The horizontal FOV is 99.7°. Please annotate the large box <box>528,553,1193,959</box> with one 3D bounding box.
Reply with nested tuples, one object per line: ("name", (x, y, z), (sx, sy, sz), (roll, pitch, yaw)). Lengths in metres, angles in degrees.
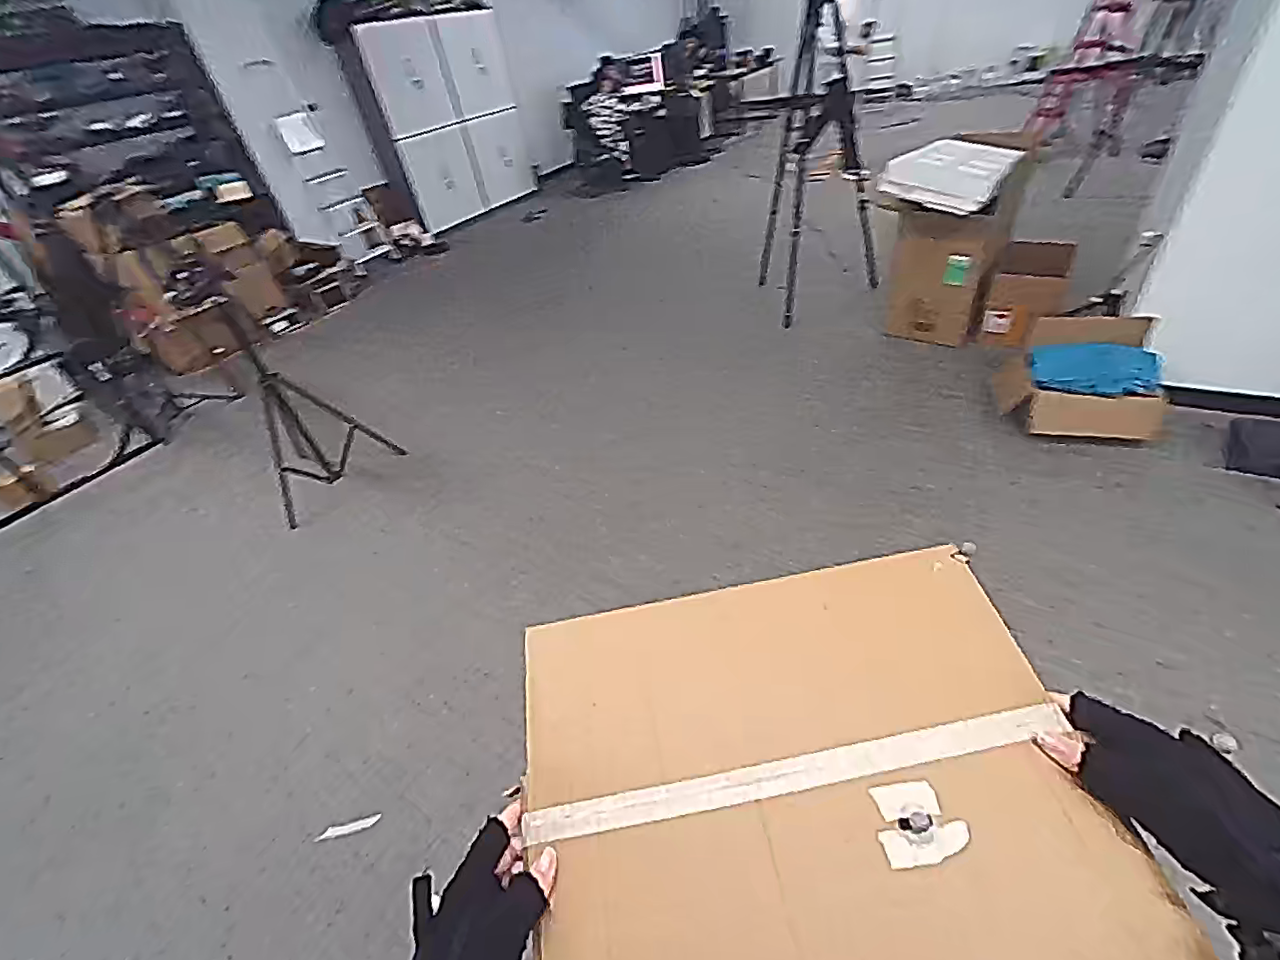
("large box", (0.132, 0.320, 0.527), (0.408, 0.320, 0.320), (-12, 51, -2))
